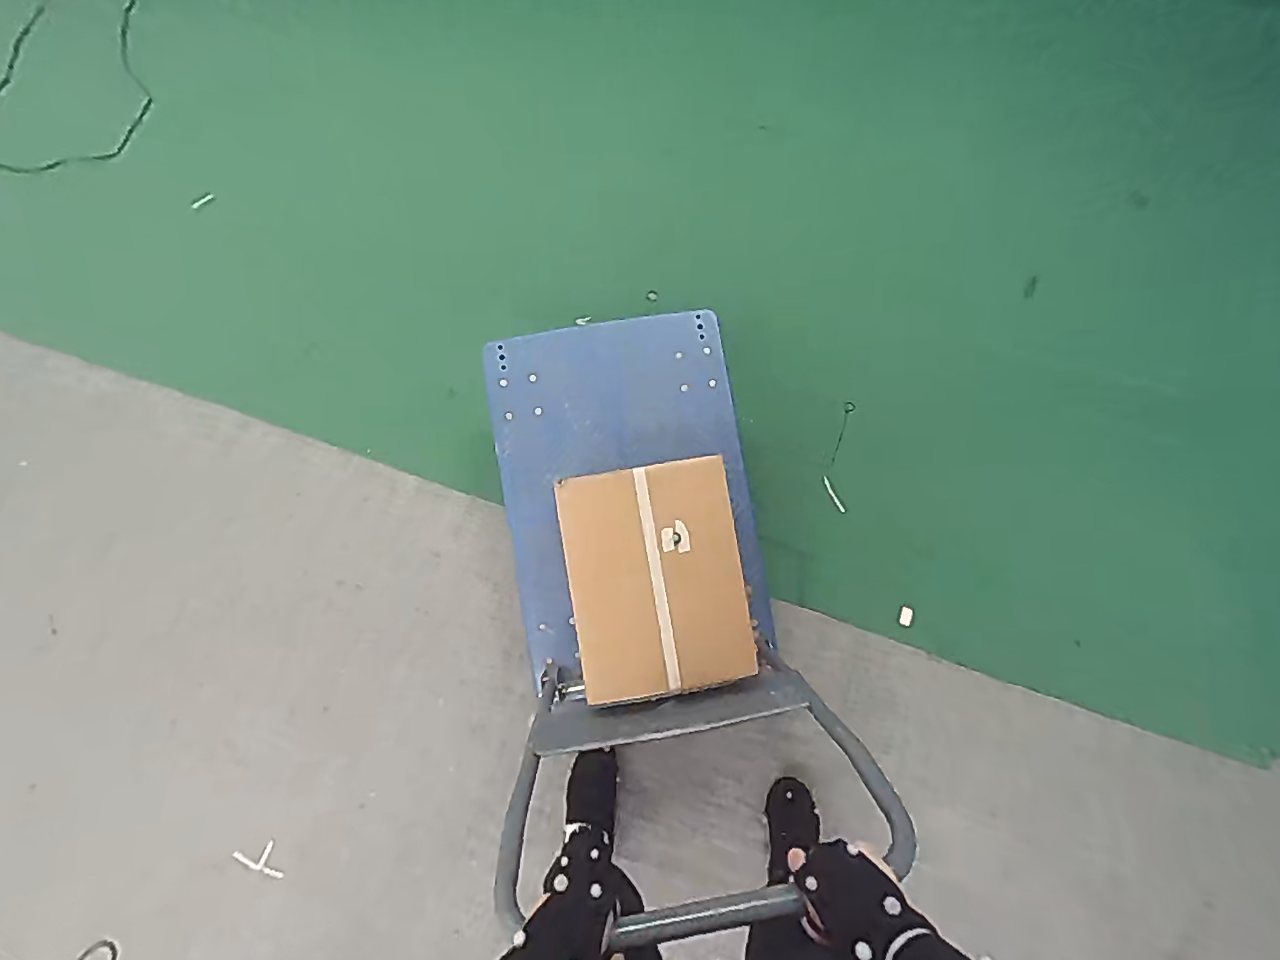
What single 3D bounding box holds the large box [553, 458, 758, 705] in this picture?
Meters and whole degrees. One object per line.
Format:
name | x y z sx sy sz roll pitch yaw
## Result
large box | 0.024 0.191 1.126 0.320 0.320 0.408 -10 86 -3
